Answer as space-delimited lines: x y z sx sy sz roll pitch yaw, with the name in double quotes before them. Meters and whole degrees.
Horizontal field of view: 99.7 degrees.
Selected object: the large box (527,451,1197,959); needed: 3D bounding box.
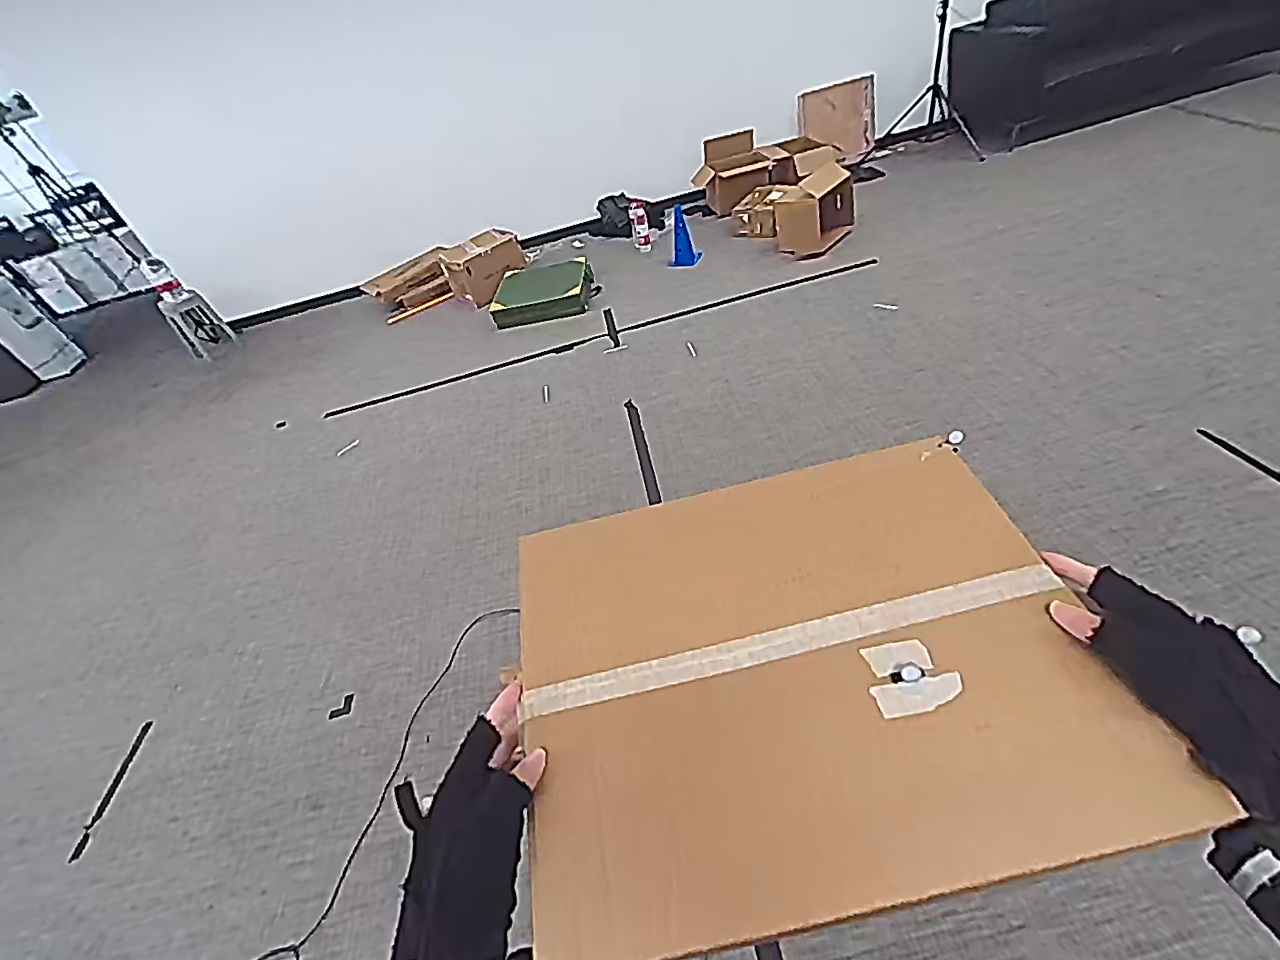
"large box" 0.133 0.225 0.525 0.408 0.320 0.320 -13 49 -1
